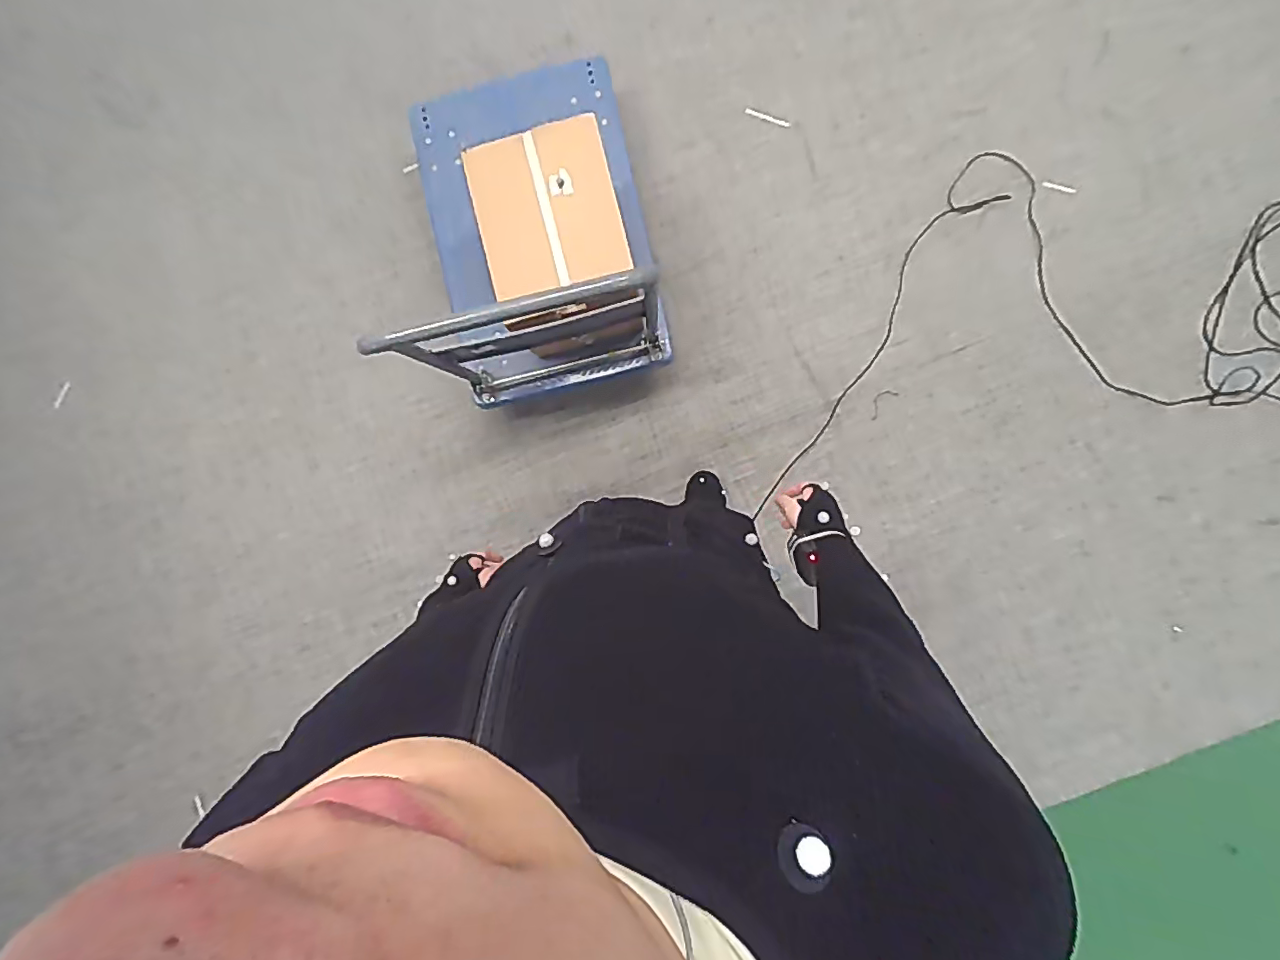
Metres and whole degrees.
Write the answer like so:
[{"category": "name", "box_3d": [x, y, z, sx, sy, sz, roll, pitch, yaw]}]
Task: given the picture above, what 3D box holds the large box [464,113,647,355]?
[{"category": "large box", "box_3d": [-0.184, -0.571, 1.331, 0.320, 0.320, 0.408, -14, 88, 2]}]
